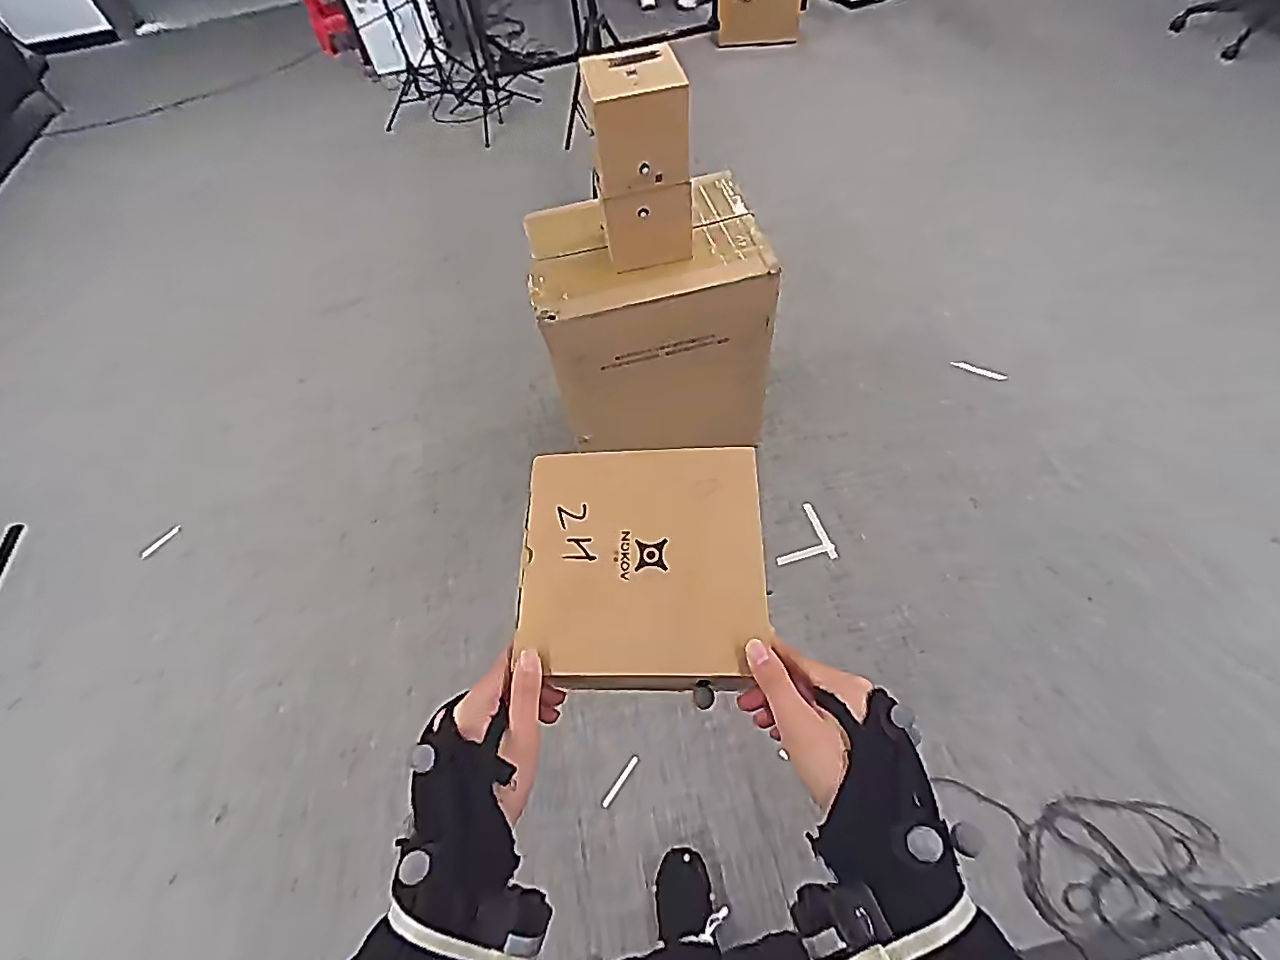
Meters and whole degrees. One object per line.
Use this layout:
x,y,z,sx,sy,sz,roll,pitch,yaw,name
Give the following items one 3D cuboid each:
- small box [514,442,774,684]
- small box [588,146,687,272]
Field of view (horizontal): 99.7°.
0.011,0.080,0.461,0.179,0.176,0.168,-2,65,7,small box
-0.001,-0.567,1.144,0.179,0.176,0.168,-12,57,-2,small box
